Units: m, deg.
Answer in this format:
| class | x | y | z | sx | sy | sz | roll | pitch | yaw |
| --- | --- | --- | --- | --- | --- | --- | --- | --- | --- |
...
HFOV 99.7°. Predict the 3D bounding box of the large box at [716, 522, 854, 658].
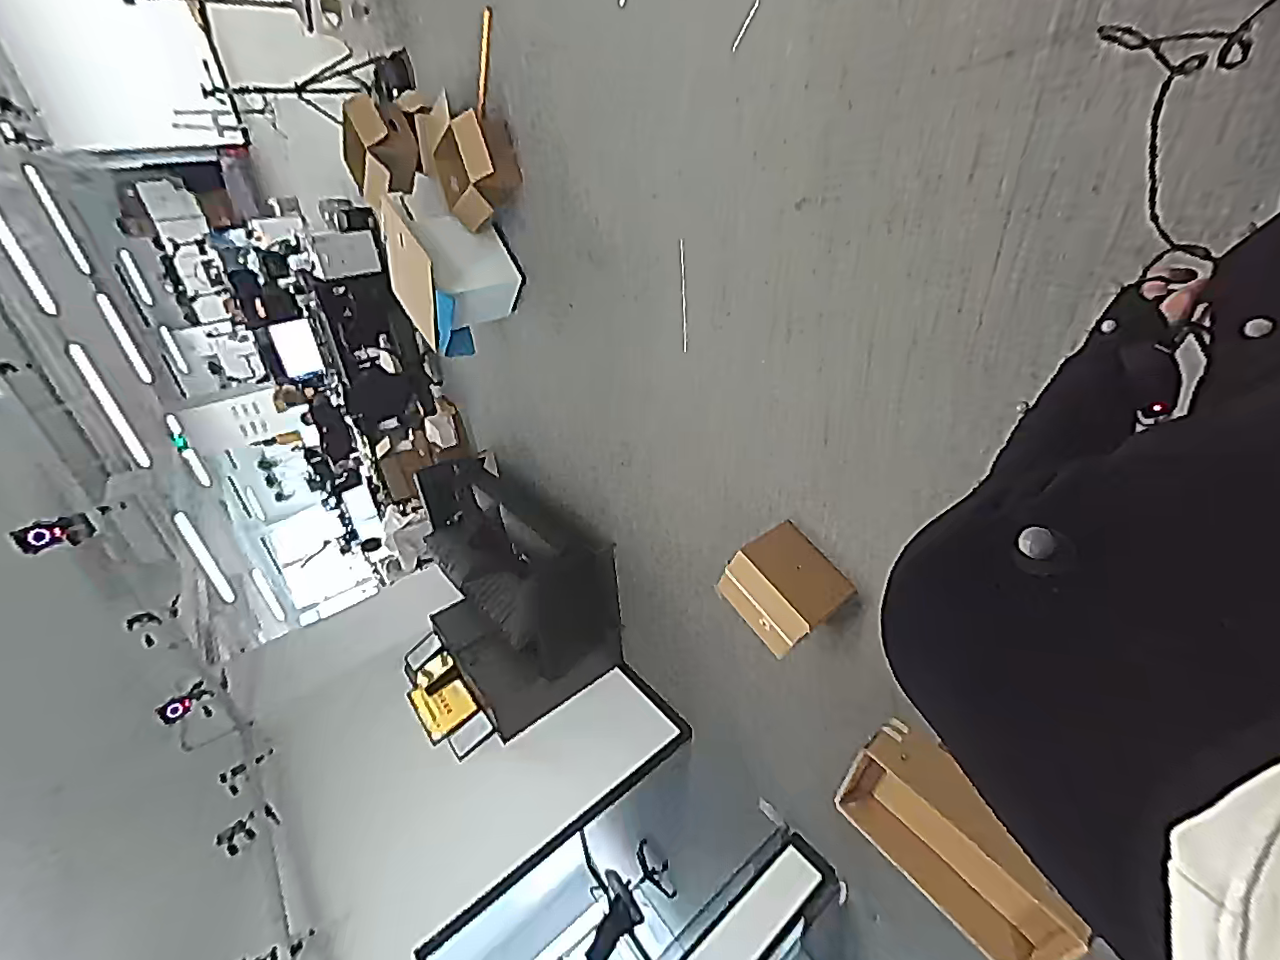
| class | x | y | z | sx | sy | sz | roll | pitch | yaw |
| --- | --- | --- | --- | --- | --- | --- | --- | --- | --- |
| large box | 0.600 | 0.454 | 2.281 | 0.408 | 0.320 | 0.320 | 48 | 145 | 24 |
